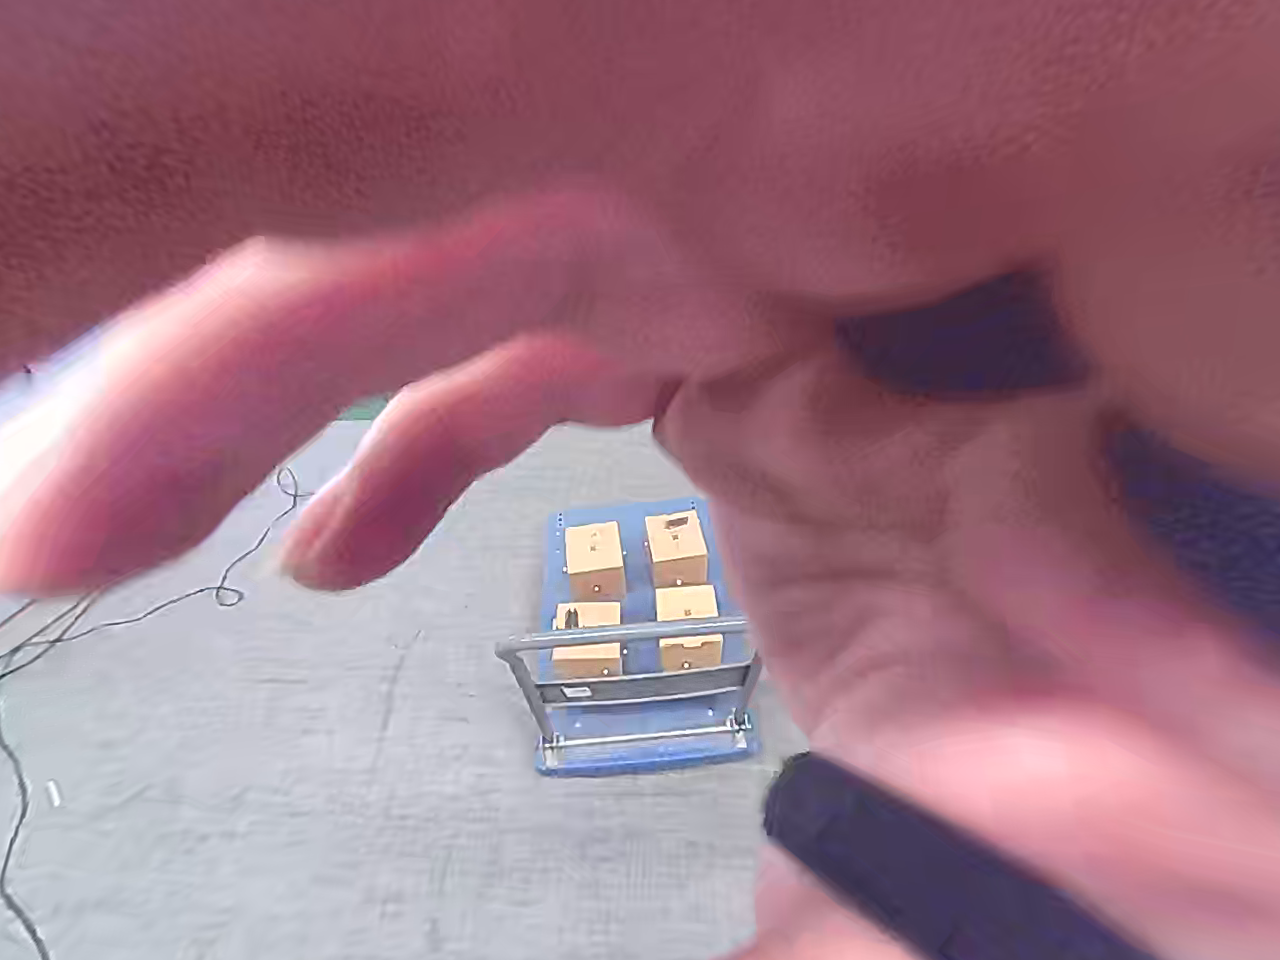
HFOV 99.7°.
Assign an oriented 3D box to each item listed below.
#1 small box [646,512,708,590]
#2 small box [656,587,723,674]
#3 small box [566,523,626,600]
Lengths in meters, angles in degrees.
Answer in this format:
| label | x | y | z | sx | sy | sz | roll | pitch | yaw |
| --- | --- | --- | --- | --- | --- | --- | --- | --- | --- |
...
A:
| label | x | y | z | sx | sy | sz | roll | pitch | yaw |
| --- | --- | --- | --- | --- | --- | --- | --- | --- | --- |
| small box | 0.112 | 0.227 | 1.700 | 0.168 | 0.176 | 0.179 | -8 | 47 | -3 |
| small box | 0.132 | 0.422 | 1.513 | 0.168 | 0.176 | 0.179 | -4 | 46 | -1 |
| small box | -0.137 | 0.260 | 1.682 | 0.168 | 0.176 | 0.179 | -7 | 46 | -4 |
